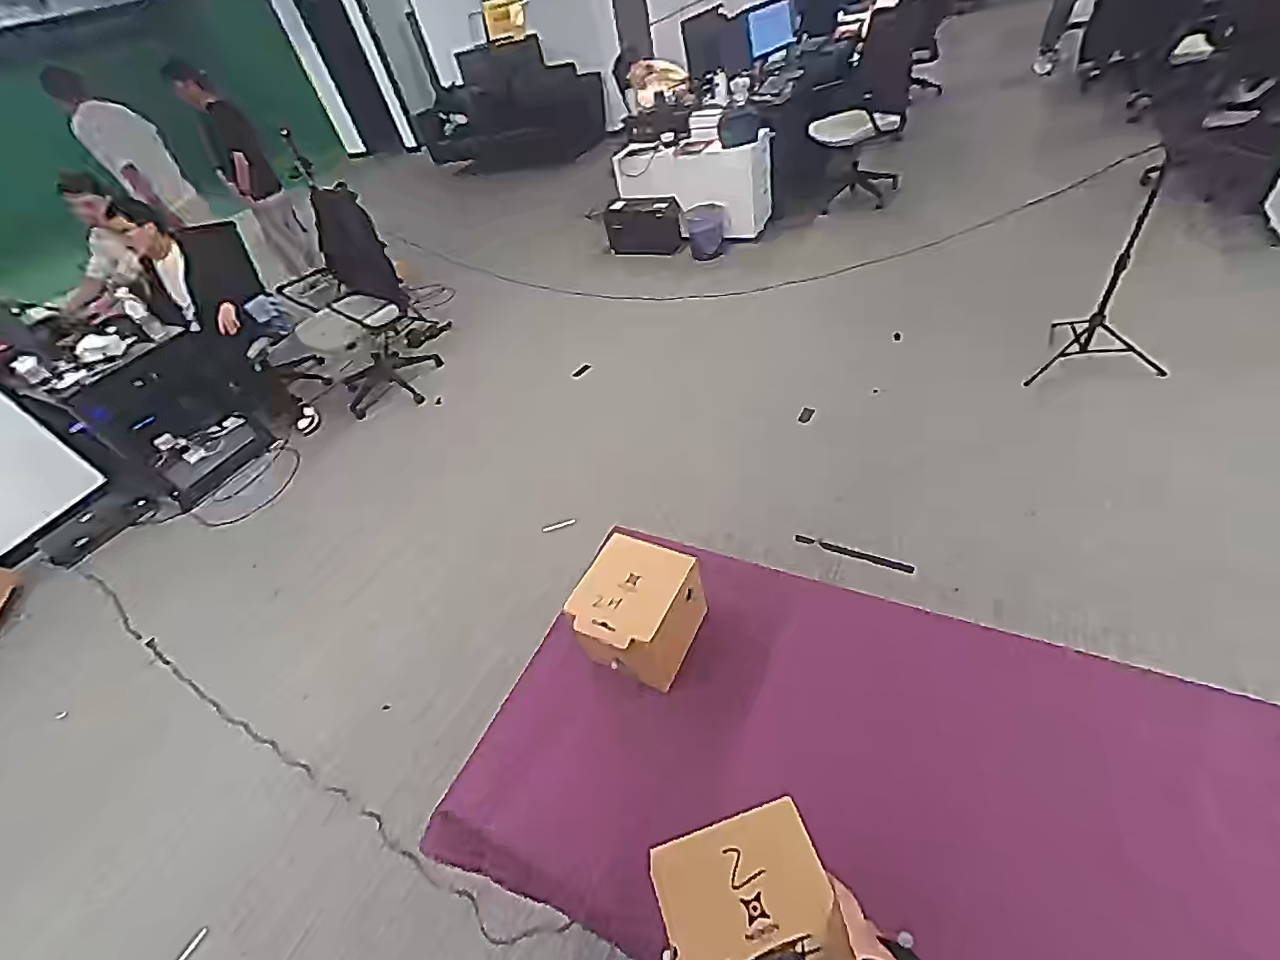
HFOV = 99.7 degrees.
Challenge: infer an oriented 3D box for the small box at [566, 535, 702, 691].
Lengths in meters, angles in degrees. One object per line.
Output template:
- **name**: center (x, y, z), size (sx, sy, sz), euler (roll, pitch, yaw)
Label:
- **small box**: center (0.001, 0.230, 0.945), size (0.168, 0.176, 0.179), euler (14, 52, 28)
